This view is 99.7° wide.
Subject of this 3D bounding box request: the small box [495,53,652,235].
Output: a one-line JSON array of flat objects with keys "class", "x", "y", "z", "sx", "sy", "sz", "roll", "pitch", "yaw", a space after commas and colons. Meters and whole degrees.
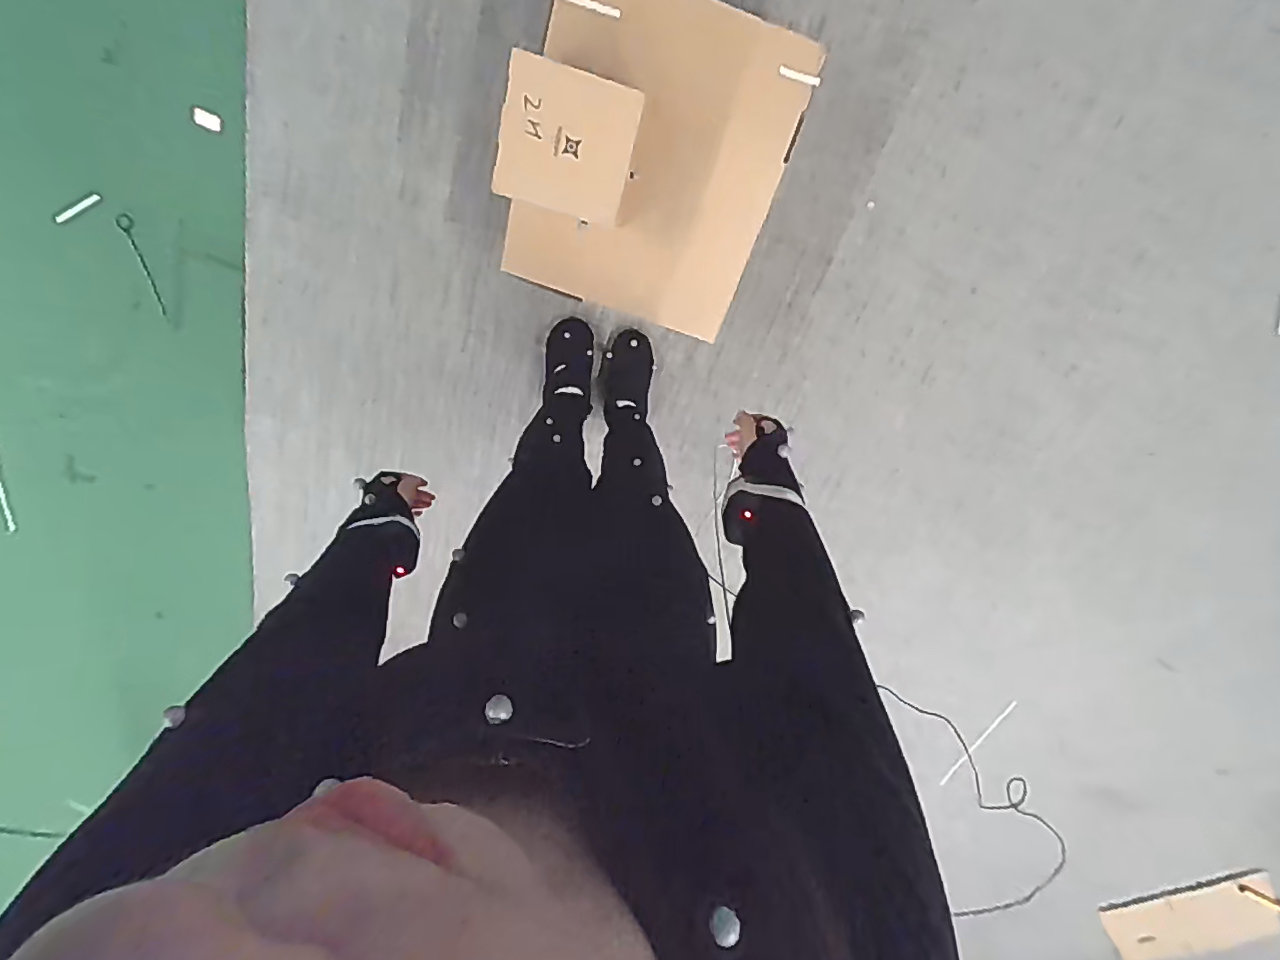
[{"class": "small box", "x": -0.090, "y": -0.470, "z": 0.780, "sx": 0.179, "sy": 0.176, "sz": 0.168, "roll": 16, "pitch": 115, "yaw": -7}]
